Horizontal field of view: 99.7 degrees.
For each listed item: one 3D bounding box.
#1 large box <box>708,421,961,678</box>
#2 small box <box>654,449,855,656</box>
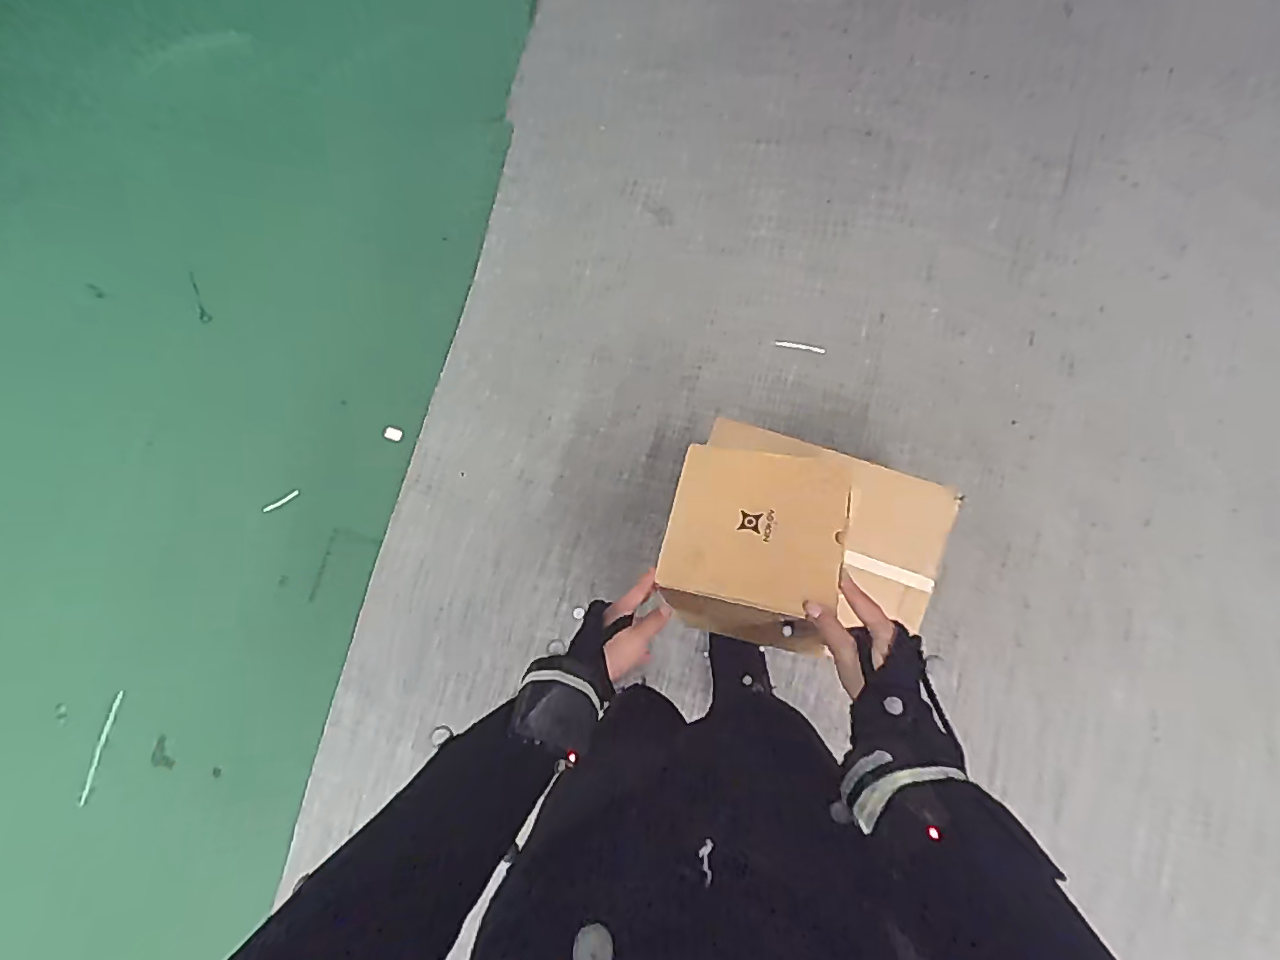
[{"bbox_3d":[0.293,0.122,1.018,0.408,0.320,0.320,20,86,13],"label":"large box"},{"bbox_3d":[0.131,0.086,0.607,0.179,0.176,0.168,8,63,17],"label":"small box"}]
